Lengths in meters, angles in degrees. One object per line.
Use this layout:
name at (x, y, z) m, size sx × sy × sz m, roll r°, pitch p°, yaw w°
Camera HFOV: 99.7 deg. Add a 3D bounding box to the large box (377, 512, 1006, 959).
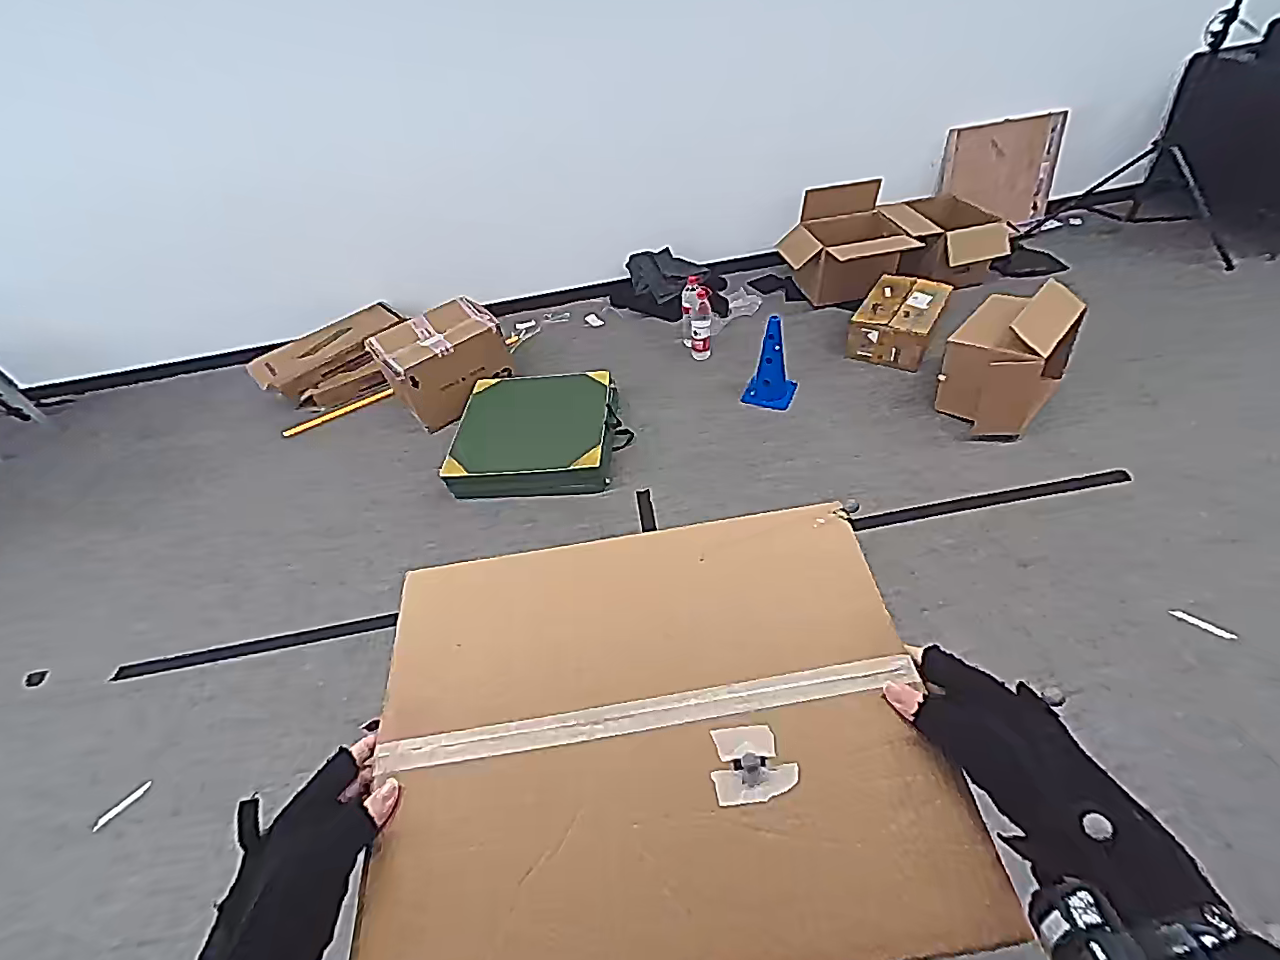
large box at (0.022, 0.273, 0.534) m, size 0.408 × 0.320 × 0.320 m, roll -9°, pitch 53°, yaw -1°
